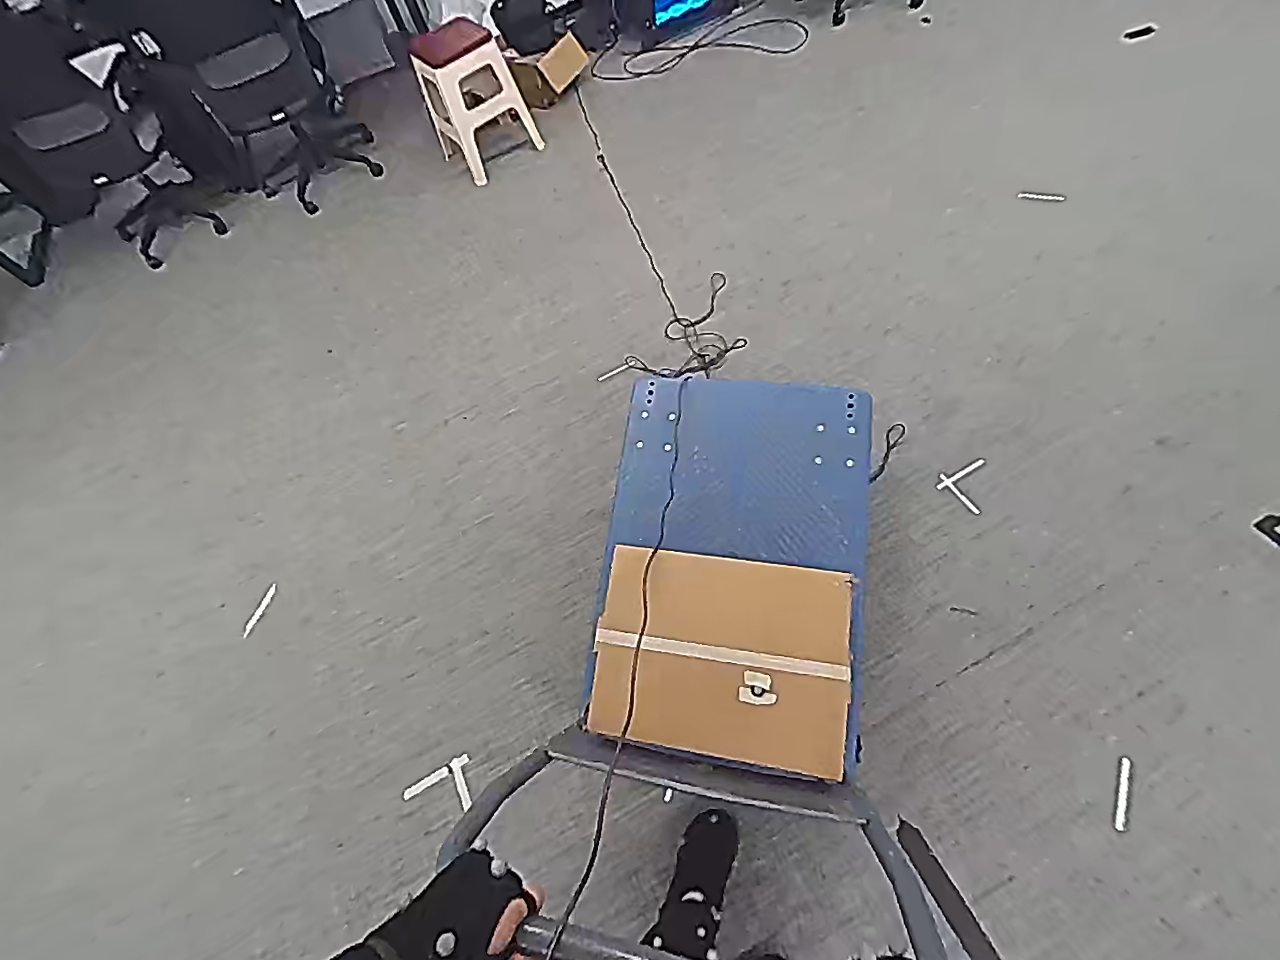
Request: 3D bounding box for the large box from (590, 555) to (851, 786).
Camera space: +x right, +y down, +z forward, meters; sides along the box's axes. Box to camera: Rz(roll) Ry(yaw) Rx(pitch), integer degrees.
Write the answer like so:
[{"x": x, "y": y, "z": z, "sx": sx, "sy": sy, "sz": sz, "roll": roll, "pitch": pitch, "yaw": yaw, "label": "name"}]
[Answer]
[{"x": 0.152, "y": 0.334, "z": 1.020, "sx": 0.408, "sy": 0.320, "sz": 0.320, "roll": 6, "pitch": 77, "yaw": 11, "label": "large box"}]
